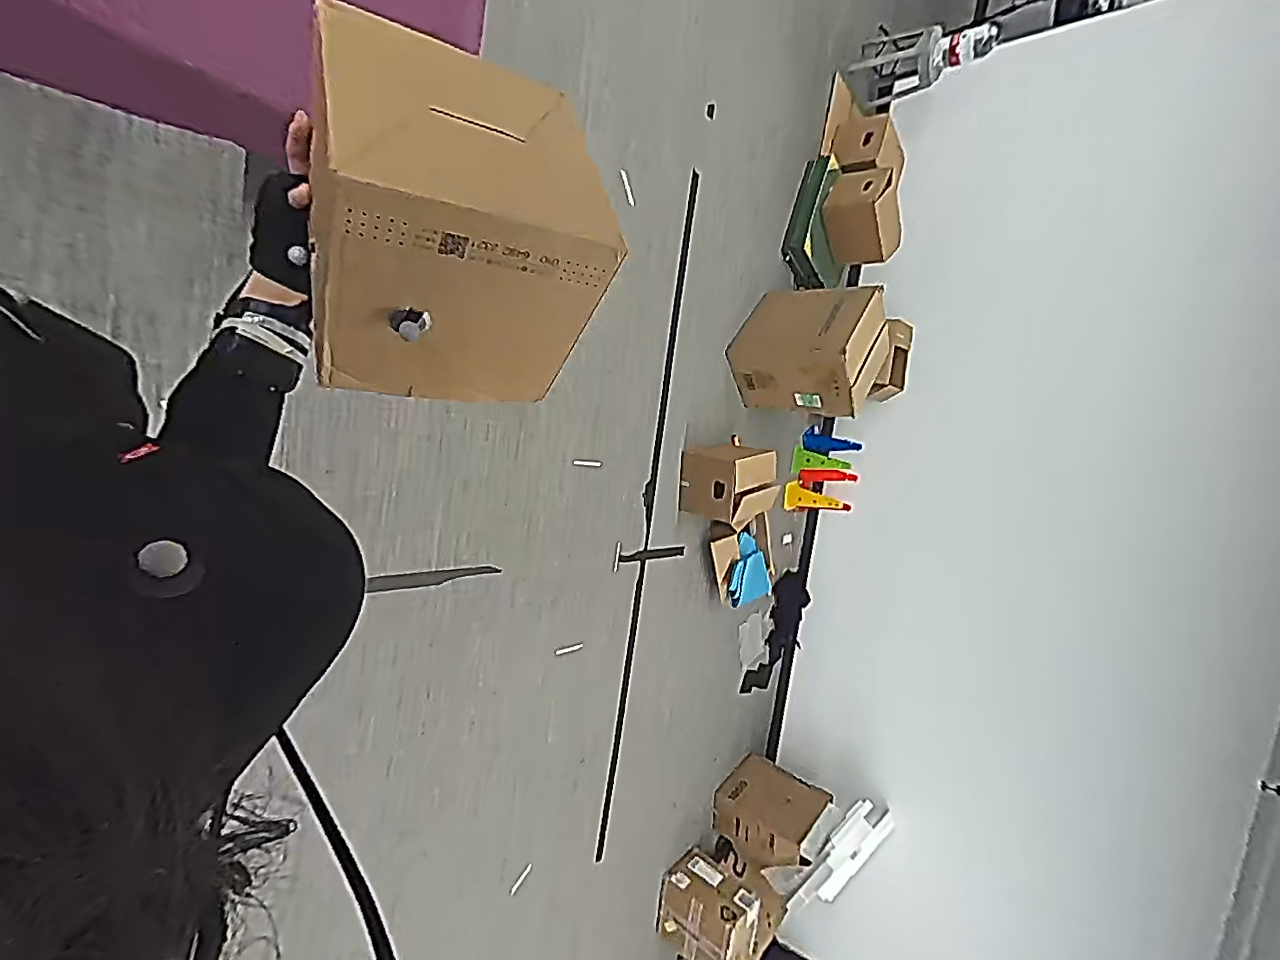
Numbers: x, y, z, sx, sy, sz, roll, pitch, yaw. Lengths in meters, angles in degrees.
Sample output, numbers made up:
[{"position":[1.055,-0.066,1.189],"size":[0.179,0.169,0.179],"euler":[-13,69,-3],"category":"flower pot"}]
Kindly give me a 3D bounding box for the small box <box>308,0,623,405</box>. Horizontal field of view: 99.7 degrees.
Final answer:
[{"position":[-0.132,-0.177,0.383],"size":[0.168,0.176,0.179],"euler":[1,60,-36],"category":"small box"}]
